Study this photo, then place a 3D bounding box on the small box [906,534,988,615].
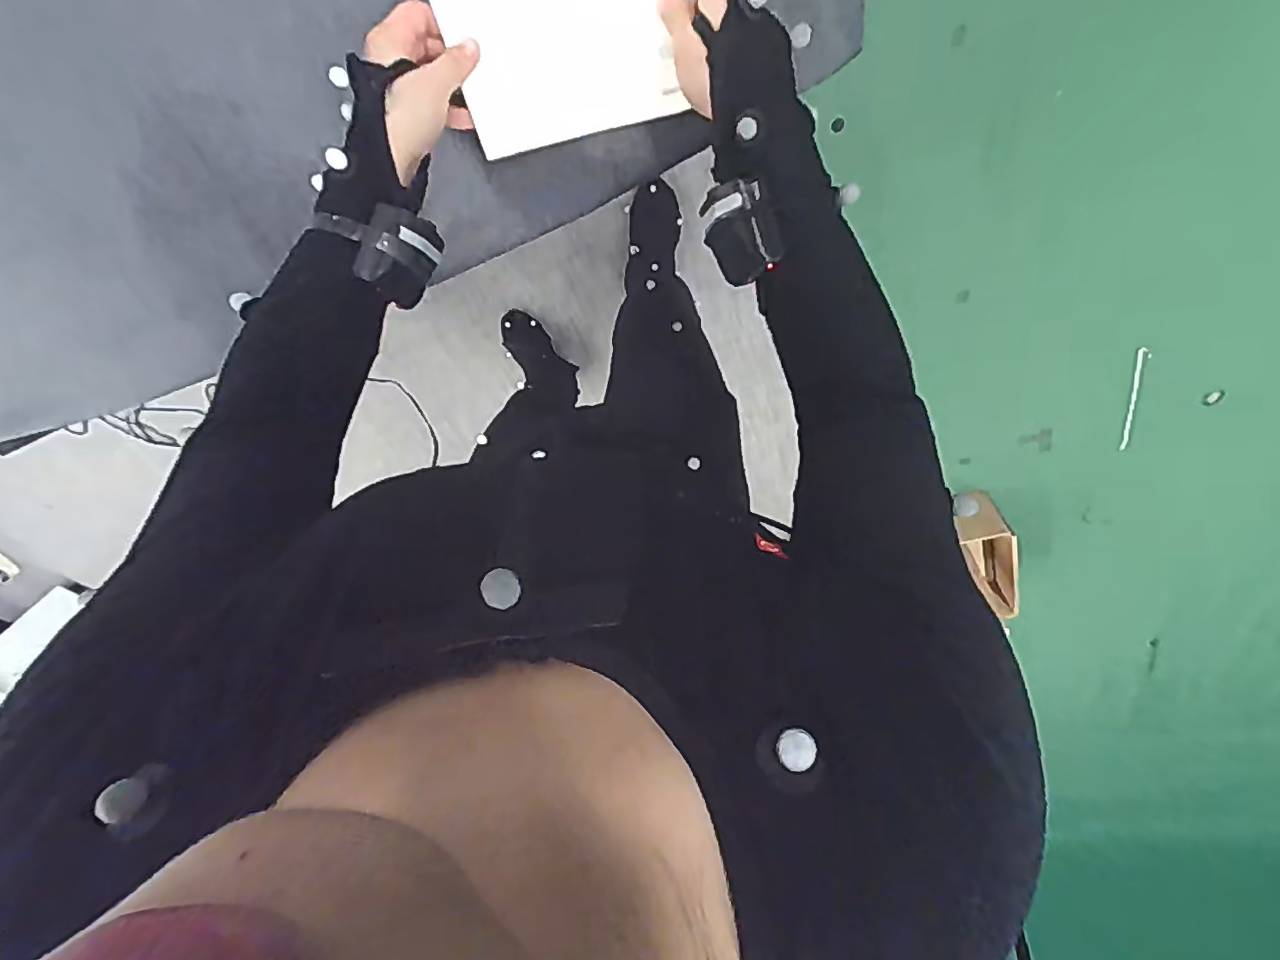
[{"bbox_3d":[0.928,0.284,1.640,0.179,0.176,0.168,-15,128,19],"label":"small box"}]
